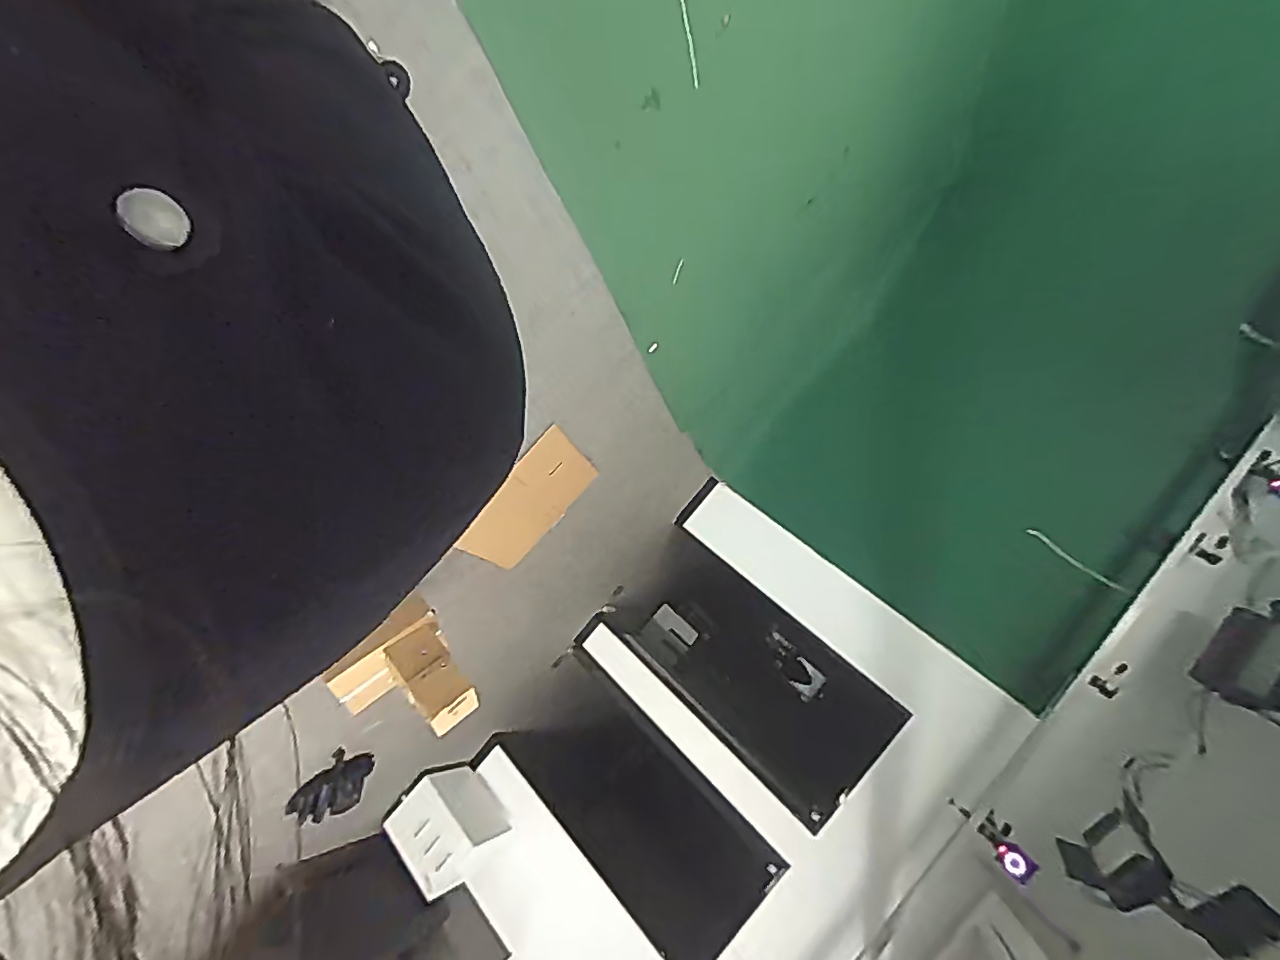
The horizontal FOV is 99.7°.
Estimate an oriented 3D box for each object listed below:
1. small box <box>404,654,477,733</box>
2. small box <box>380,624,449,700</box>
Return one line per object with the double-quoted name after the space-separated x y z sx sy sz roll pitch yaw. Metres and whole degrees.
-0.707 0.750 1.914 0.168 0.176 0.179 -36 149 -30 "small box"
-0.827 0.666 1.996 0.179 0.176 0.168 -31 149 -34 "small box"
